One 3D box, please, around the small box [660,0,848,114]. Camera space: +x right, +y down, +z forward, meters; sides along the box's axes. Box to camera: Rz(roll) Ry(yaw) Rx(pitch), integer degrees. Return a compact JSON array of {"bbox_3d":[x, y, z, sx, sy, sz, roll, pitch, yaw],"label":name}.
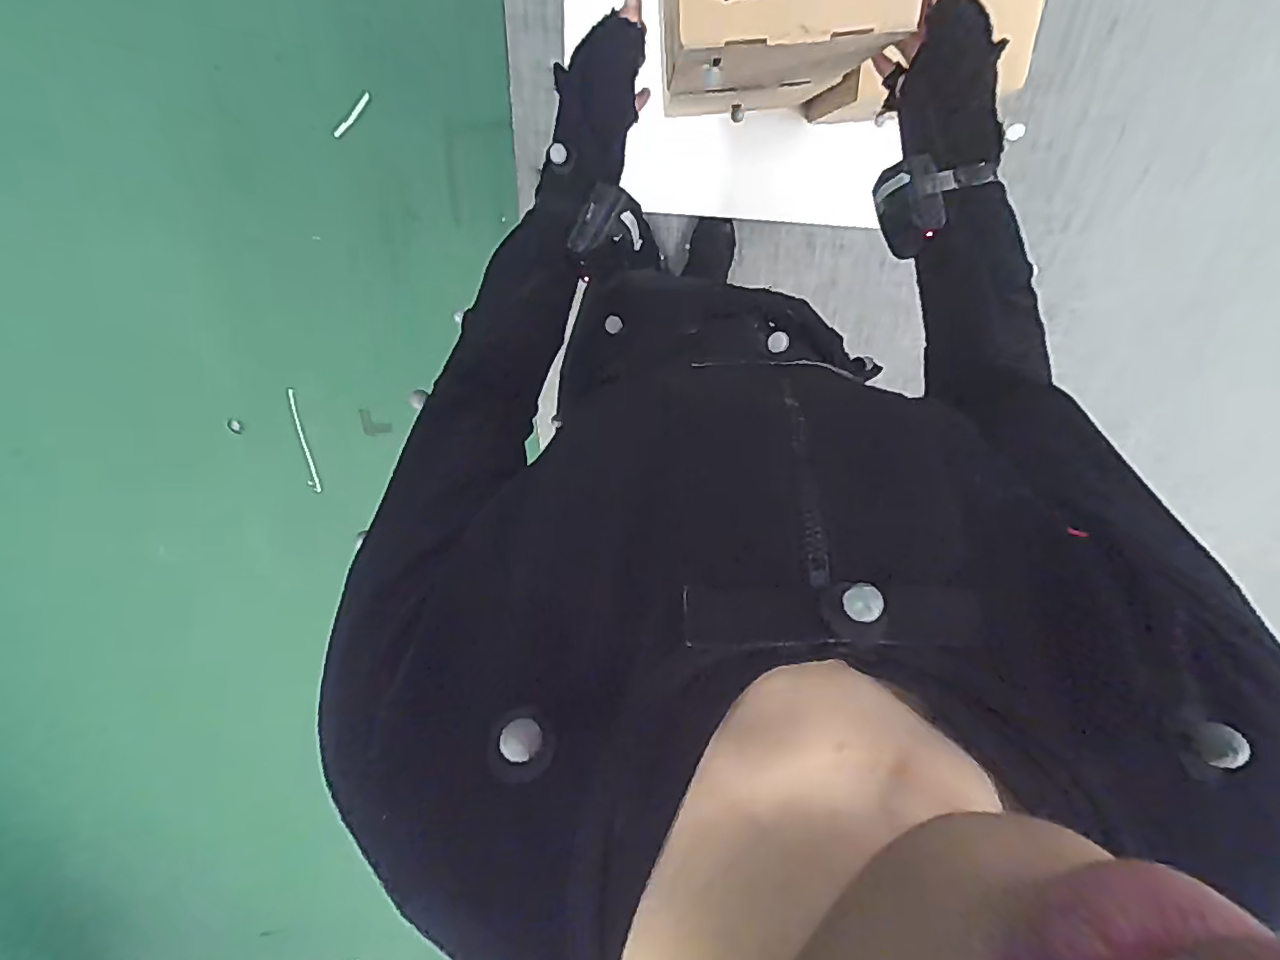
[{"bbox_3d":[0.106,-0.495,0.551,0.168,0.176,0.179,-4,117,2],"label":"small box"}]
